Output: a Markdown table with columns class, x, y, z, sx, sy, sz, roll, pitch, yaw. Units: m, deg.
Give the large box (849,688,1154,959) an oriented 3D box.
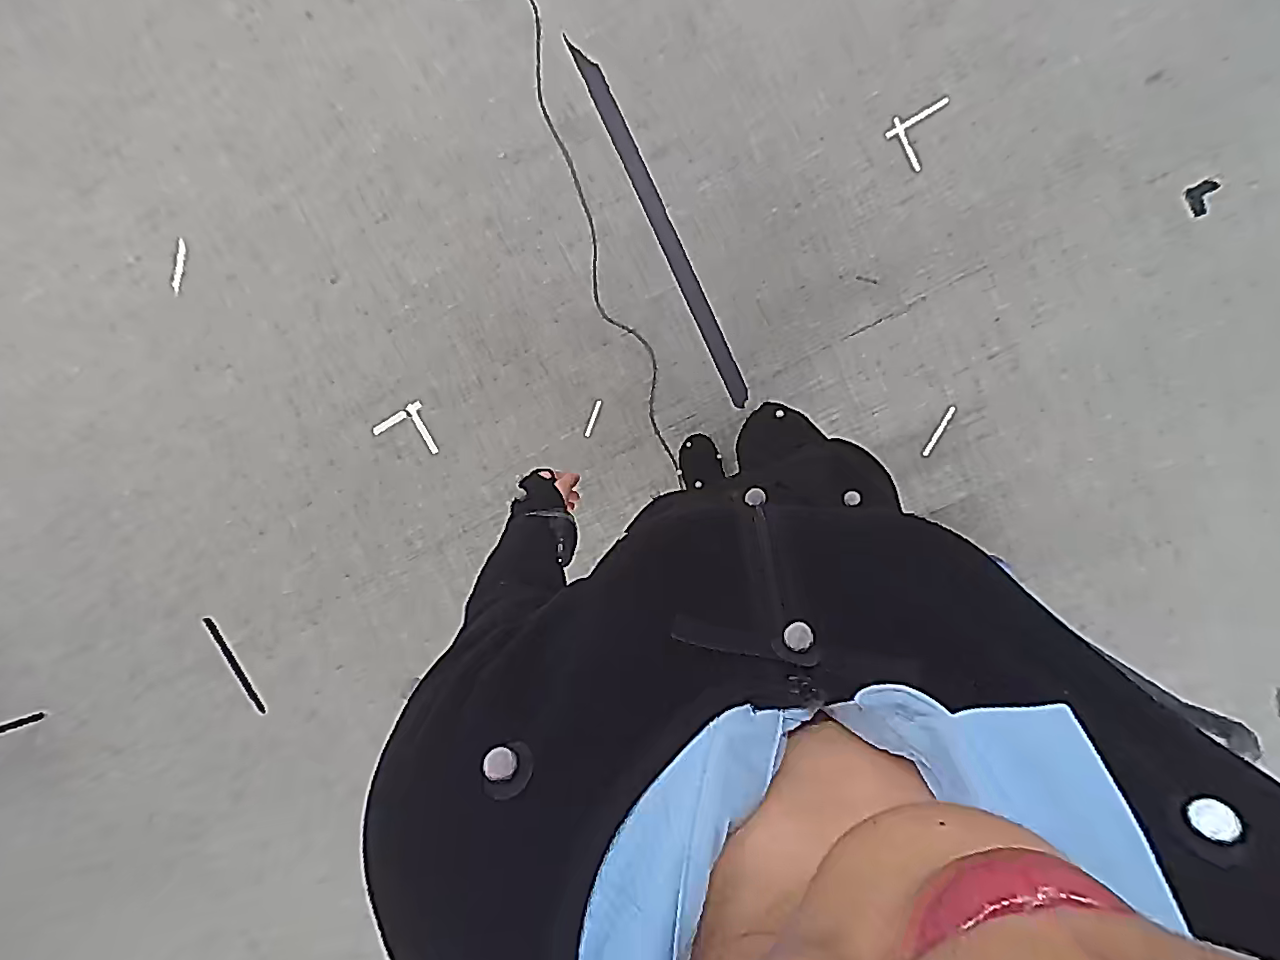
| class | x | y | z | sx | sy | sz | roll | pitch | yaw |
| --- | --- | --- | --- | --- | --- | --- | --- | --- | --- |
| large box | 0.732 | 0.712 | 1.166 | 0.408 | 0.320 | 0.320 | -21 | 95 | 10 |
